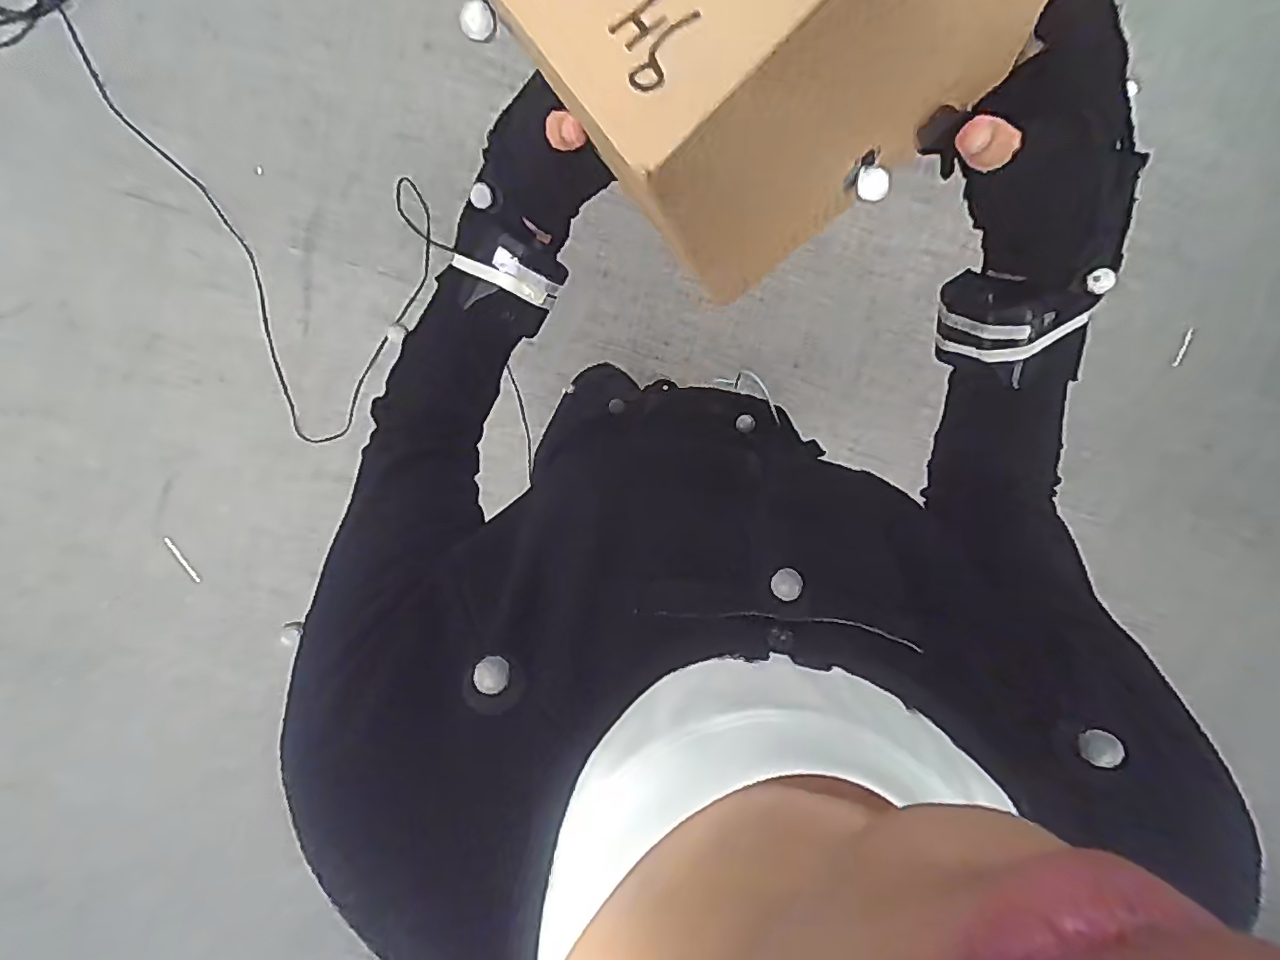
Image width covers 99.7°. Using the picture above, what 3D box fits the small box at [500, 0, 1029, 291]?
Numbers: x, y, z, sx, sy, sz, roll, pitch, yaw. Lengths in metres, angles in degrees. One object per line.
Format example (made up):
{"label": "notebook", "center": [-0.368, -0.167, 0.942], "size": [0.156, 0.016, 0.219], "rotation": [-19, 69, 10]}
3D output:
{"label": "small box", "center": [0.043, -0.210, 0.216], "size": [0.179, 0.176, 0.168], "rotation": [-37, 83, 15]}
